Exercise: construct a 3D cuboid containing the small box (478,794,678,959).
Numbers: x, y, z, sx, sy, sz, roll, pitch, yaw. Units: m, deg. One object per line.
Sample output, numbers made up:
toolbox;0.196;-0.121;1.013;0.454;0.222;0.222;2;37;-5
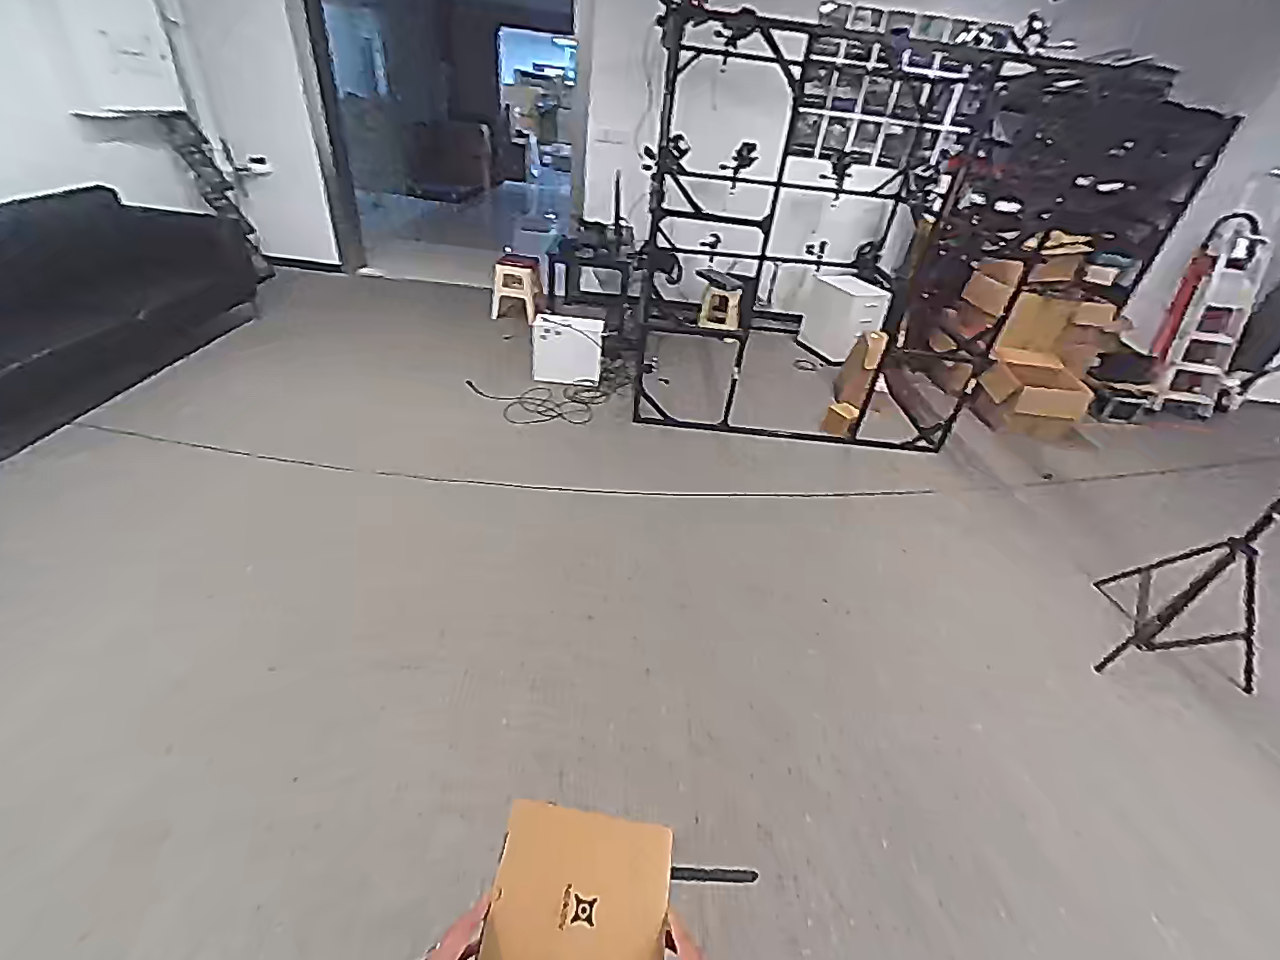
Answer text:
small box;-0.068;0.466;0.586;0.179;0.176;0.168;12;46;-2
